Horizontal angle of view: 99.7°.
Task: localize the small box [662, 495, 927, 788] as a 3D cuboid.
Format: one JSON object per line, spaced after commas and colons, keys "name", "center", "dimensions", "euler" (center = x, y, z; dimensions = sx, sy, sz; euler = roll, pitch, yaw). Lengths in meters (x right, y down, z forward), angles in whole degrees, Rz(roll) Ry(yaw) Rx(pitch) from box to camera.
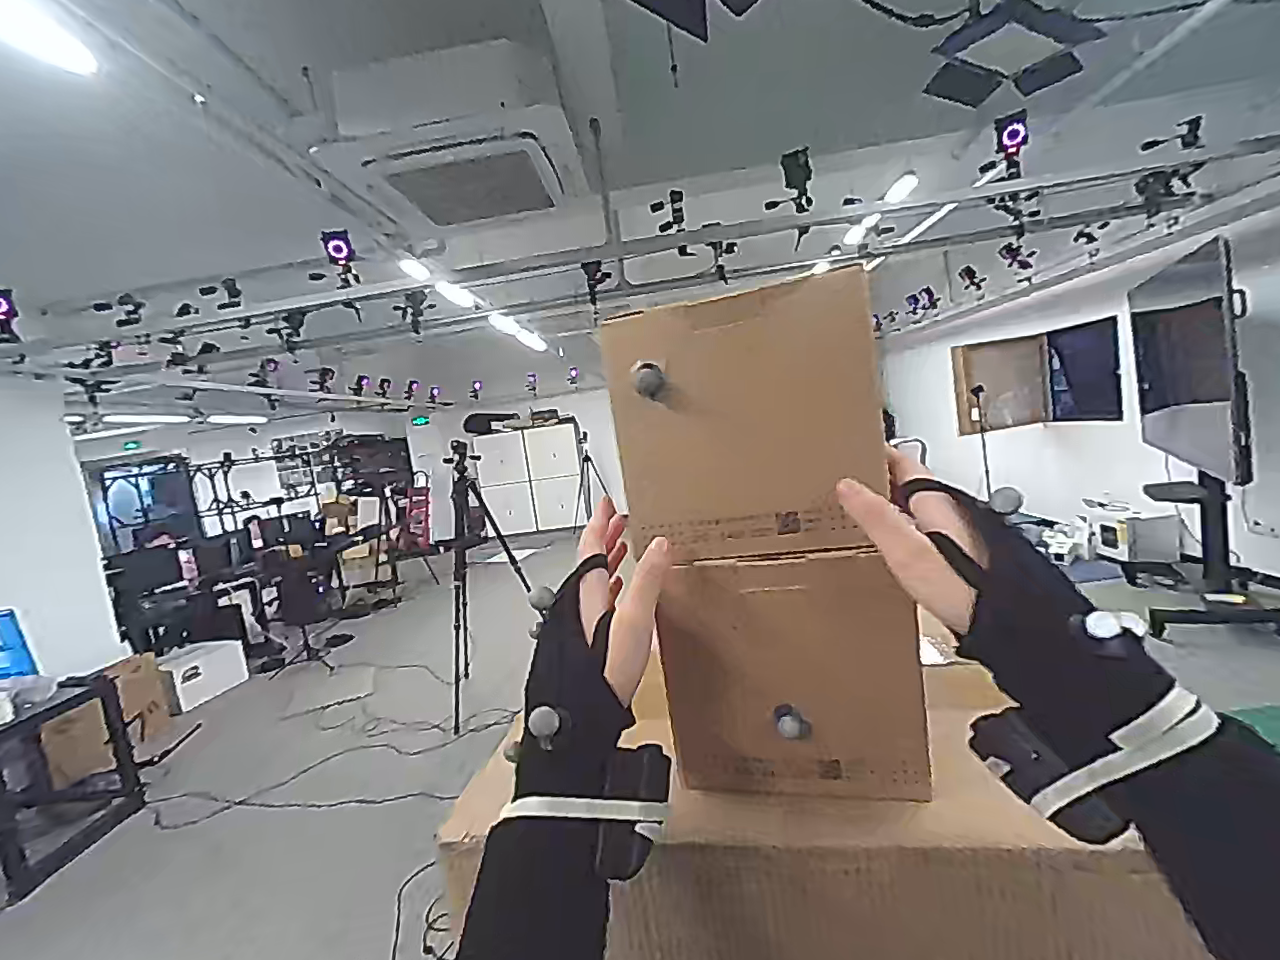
{"name": "small box", "center": [0.125, 0.116, 0.446], "dimensions": [0.168, 0.176, 0.179], "euler": [-7, 8, 16]}
